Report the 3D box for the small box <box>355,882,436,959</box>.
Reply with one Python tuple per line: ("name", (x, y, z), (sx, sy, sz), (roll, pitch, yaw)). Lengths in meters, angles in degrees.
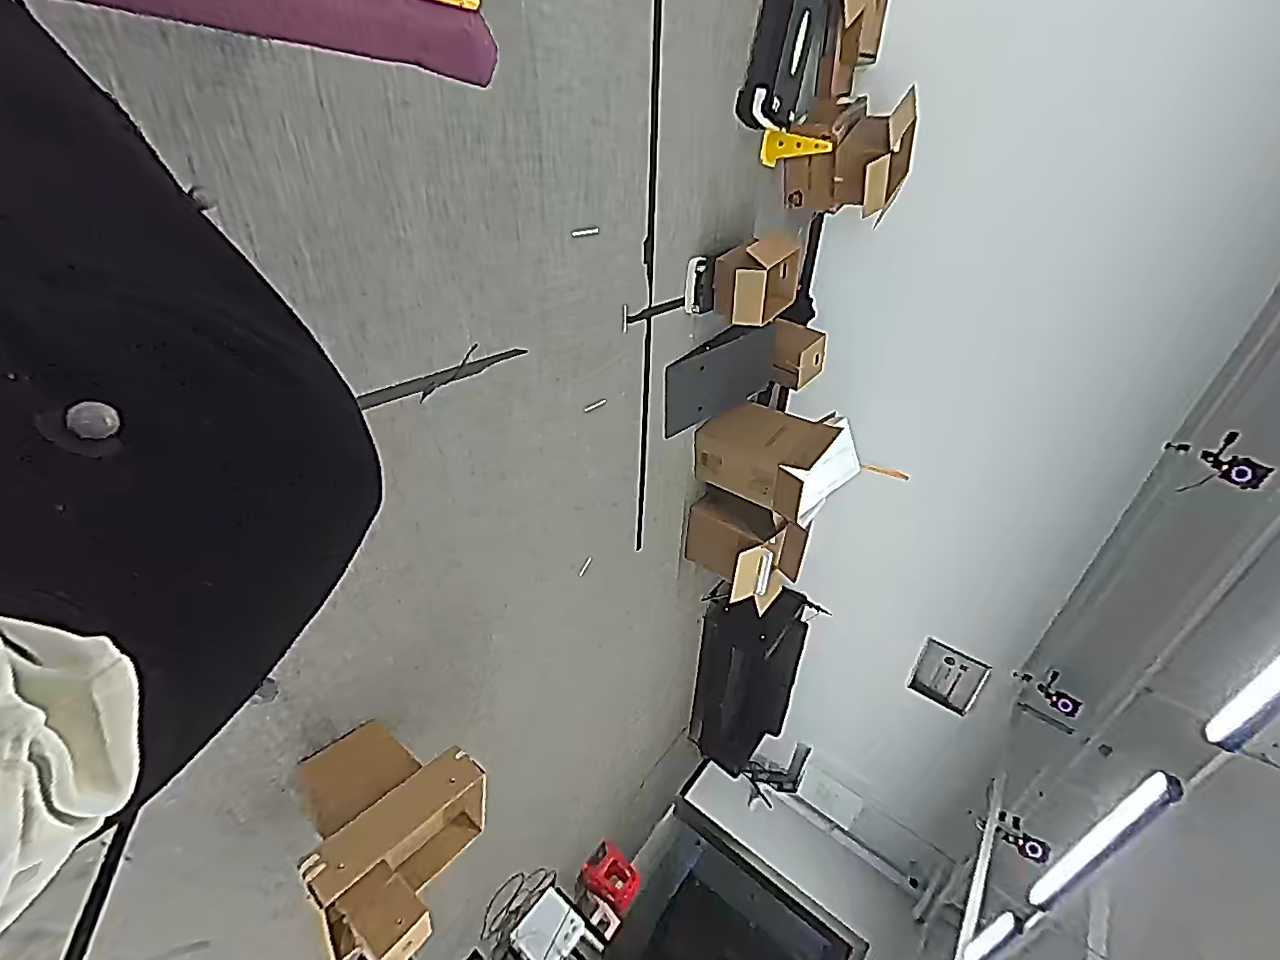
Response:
("small box", (-0.795, 1.478, 1.767), (0.179, 0.176, 0.168), (-29, 134, -46))
